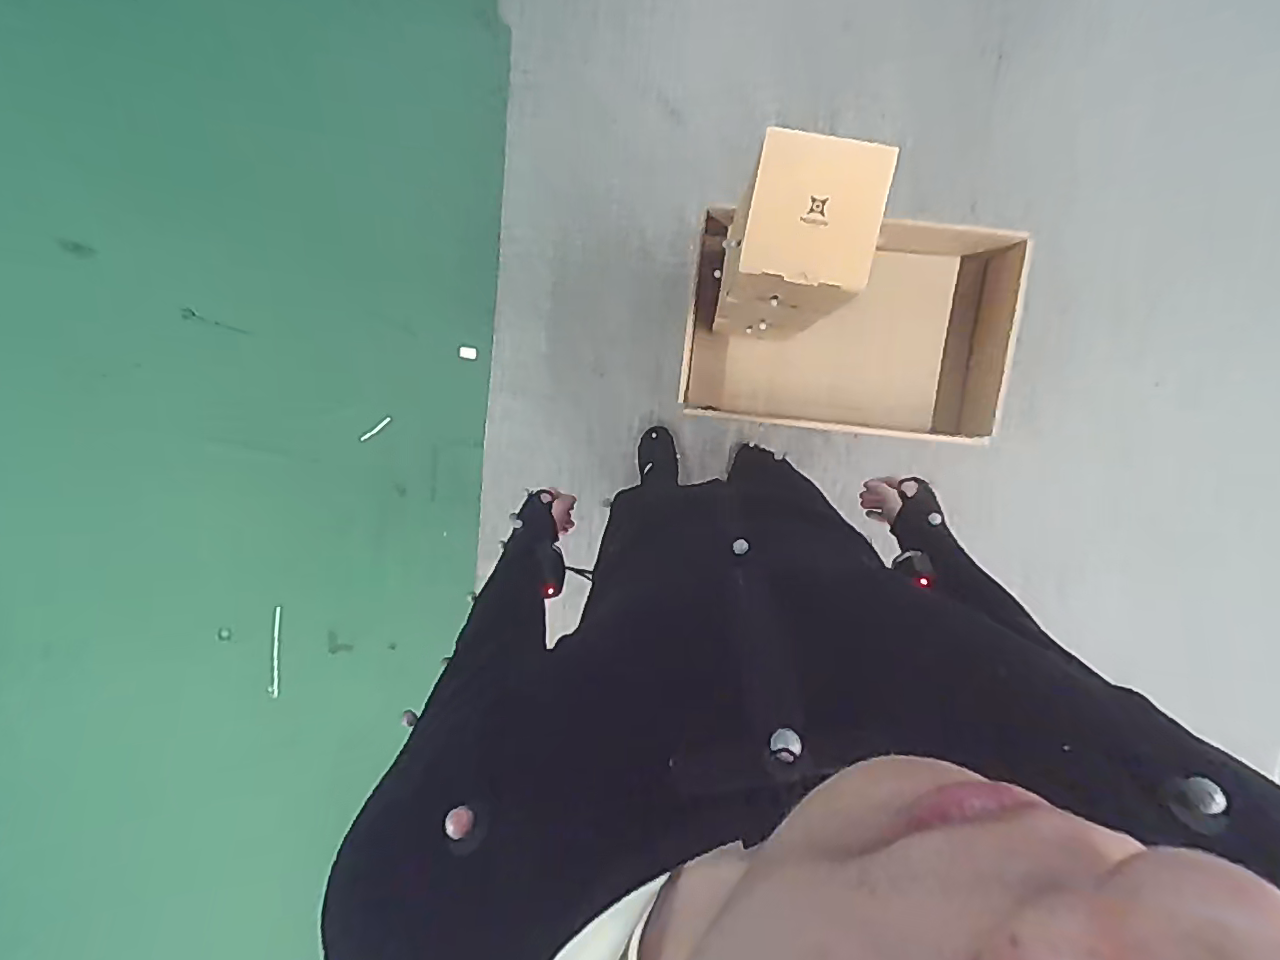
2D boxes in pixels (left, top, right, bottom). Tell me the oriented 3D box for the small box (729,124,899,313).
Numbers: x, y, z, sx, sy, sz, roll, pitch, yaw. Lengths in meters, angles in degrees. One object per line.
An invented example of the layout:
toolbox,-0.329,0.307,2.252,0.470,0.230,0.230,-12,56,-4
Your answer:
small box,0.226,-0.348,0.751,0.168,0.176,0.179,11,98,2

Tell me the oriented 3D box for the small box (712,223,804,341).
small box,0.239,-0.385,1.075,0.168,0.176,0.179,8,97,2

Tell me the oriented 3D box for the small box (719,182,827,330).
small box,0.231,-0.366,0.912,0.168,0.176,0.179,10,97,3
